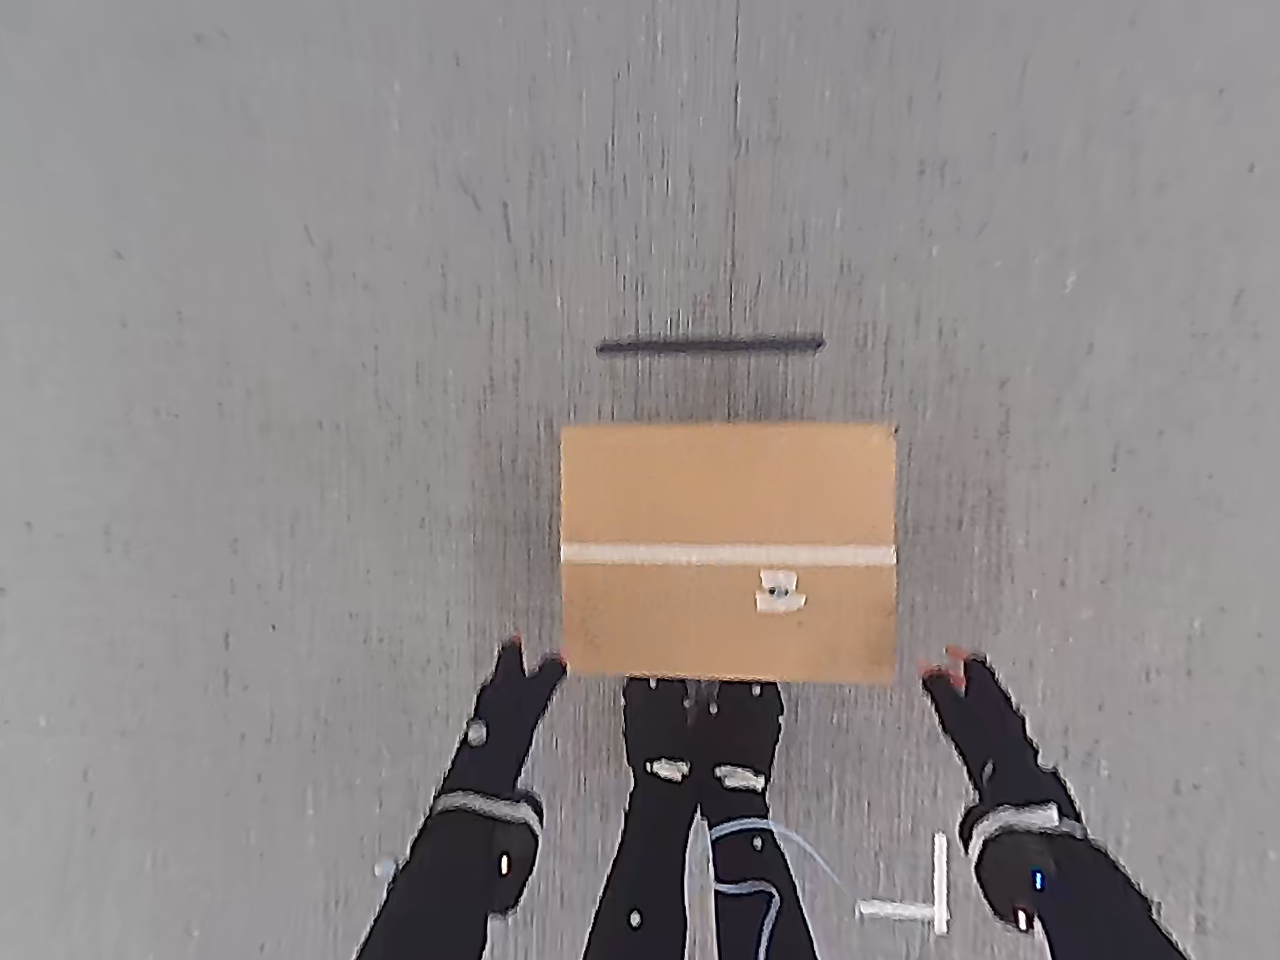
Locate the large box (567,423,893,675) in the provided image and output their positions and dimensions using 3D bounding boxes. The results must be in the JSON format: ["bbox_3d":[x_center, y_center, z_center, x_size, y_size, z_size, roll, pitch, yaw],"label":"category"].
[{"bbox_3d":[0.118,0.084,0.818,0.408,0.320,0.320,0,93,5],"label":"large box"}]
